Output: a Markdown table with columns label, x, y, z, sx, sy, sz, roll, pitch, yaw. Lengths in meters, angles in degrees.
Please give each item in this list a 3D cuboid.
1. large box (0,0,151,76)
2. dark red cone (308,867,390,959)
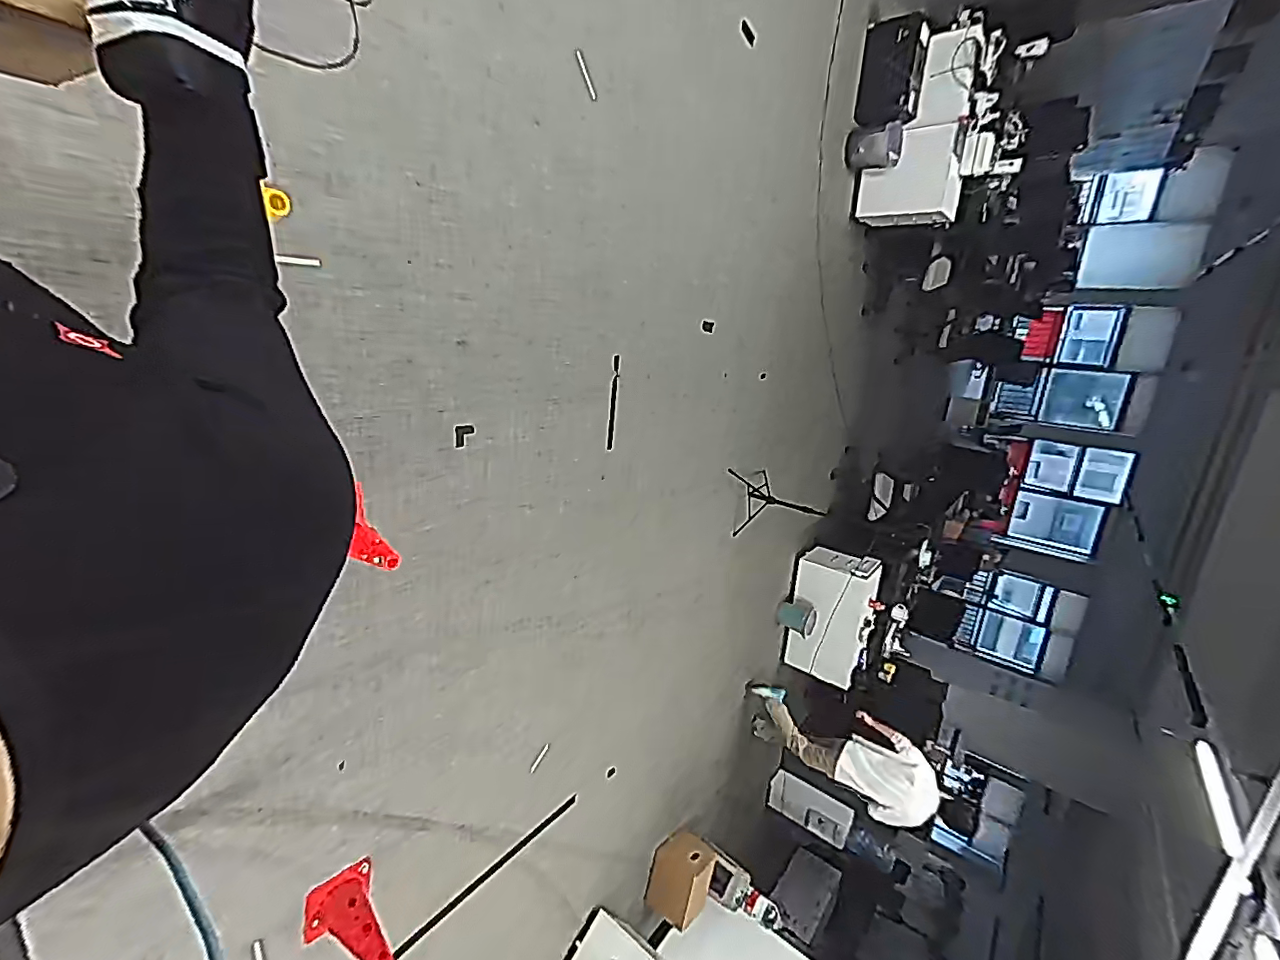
| label | x | y | z | sx | sy | sz | roll | pitch | yaw |
| --- | --- | --- | --- | --- | --- | --- | --- | --- | --- |
| large box | -0.552 | -0.448 | 0.244 | 0.408 | 0.320 | 0.320 | -18 | 123 | -52 |
| dark red cone | -0.837 | 1.416 | 1.646 | 0.201 | 0.394 | 0.202 | -6 | 107 | -51 |
